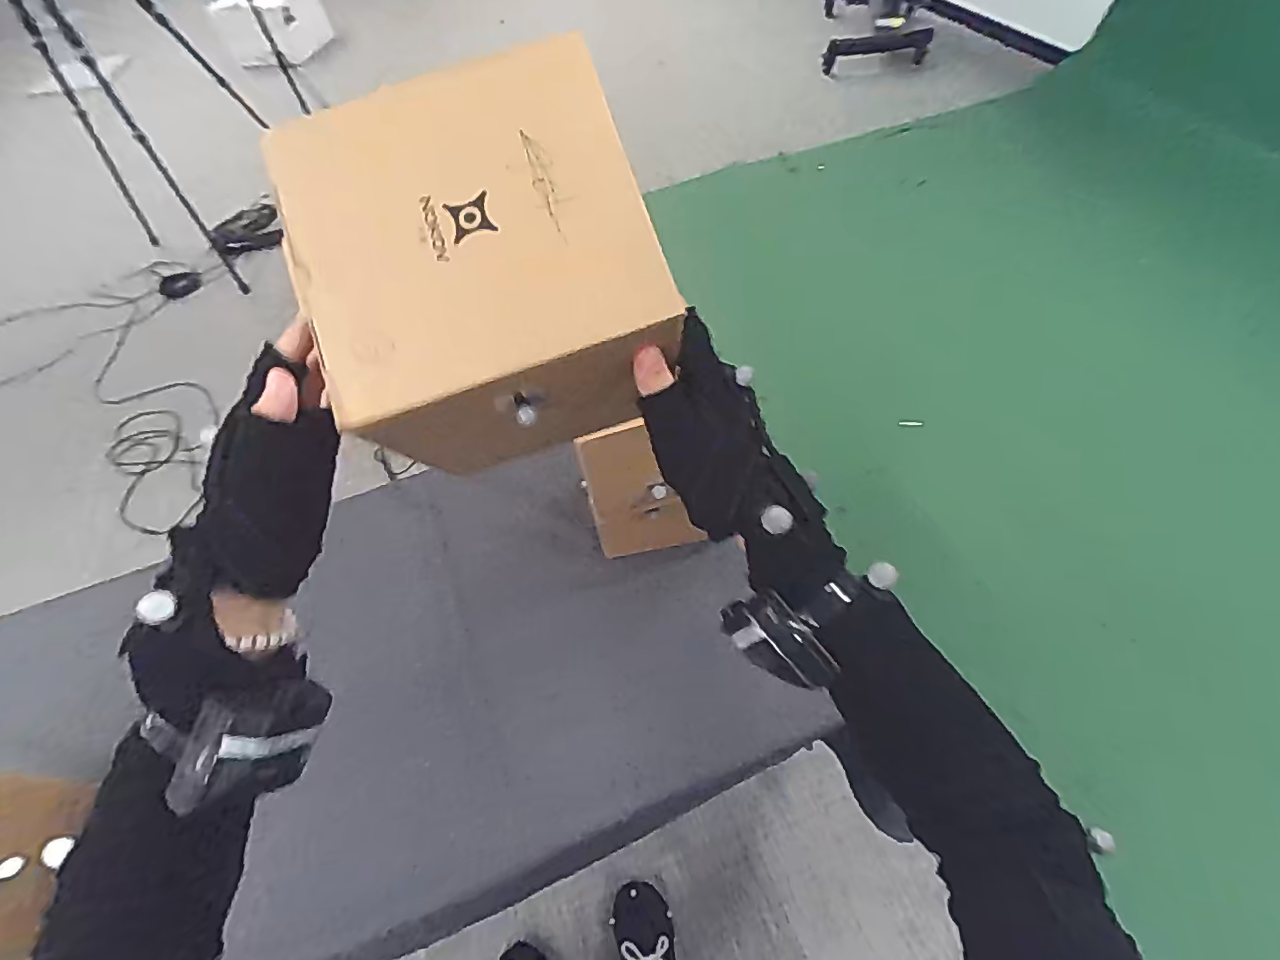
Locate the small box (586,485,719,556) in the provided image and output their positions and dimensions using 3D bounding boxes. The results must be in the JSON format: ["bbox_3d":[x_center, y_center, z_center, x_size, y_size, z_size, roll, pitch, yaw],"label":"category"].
[{"bbox_3d":[0.015,-0.004,0.788,0.179,0.176,0.168,-10,57,-2],"label":"small box"}]

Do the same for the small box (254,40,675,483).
[{"bbox_3d":[-0.084,-0.107,0.340,0.179,0.176,0.168,-20,82,0],"label":"small box"}]

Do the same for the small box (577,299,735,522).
[{"bbox_3d":[0.000,-0.078,0.641,0.168,0.176,0.179,-16,57,-5],"label":"small box"}]
